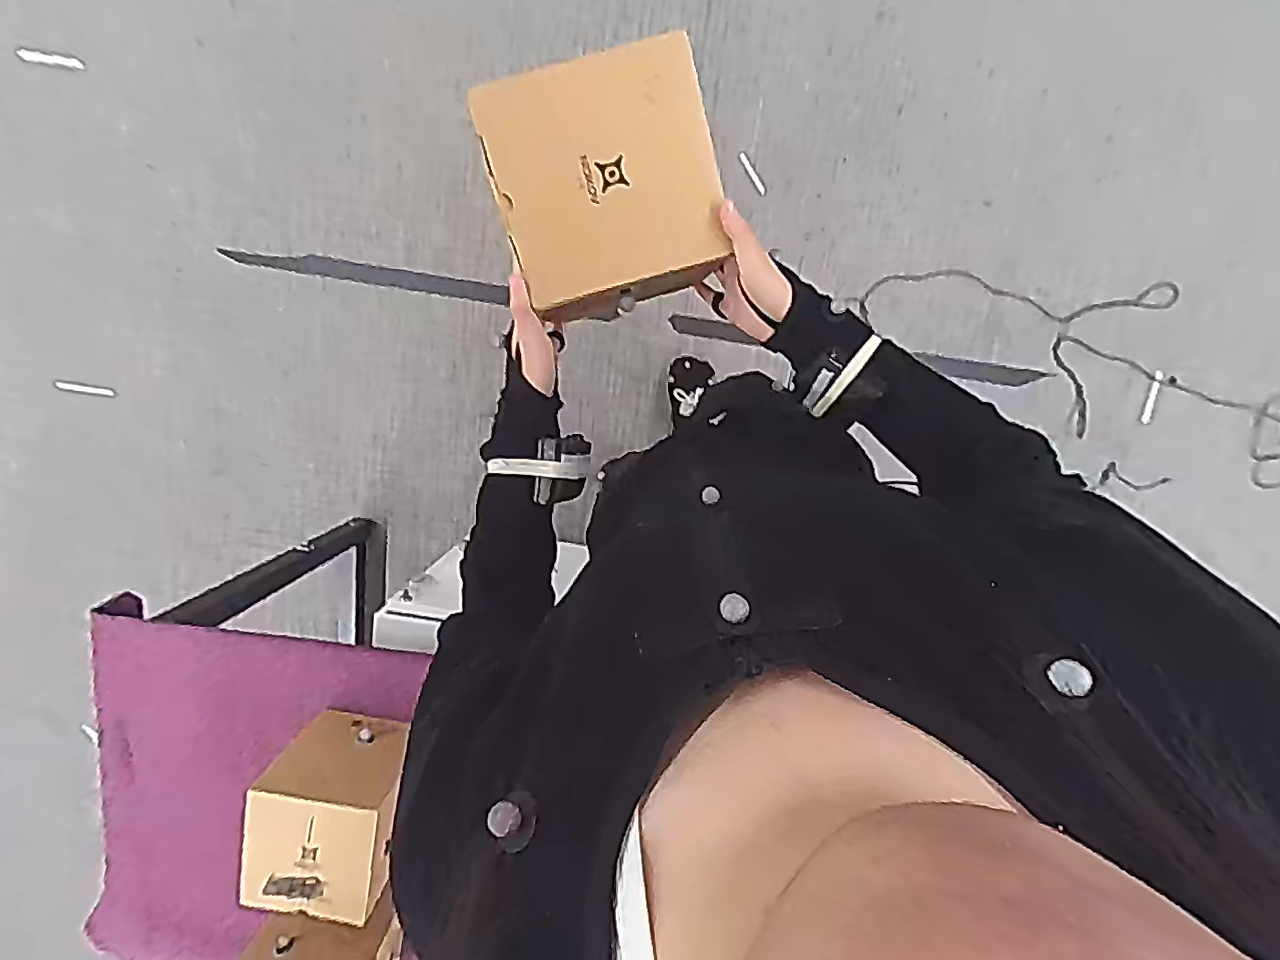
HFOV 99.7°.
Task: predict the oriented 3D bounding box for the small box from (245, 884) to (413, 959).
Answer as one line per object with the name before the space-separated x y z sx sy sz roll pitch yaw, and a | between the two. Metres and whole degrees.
small box | -0.472 0.739 0.815 0.179 0.176 0.168 11 100 -2

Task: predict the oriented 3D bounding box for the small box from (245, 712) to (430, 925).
small box | -0.414 0.466 0.764 0.168 0.176 0.179 11 101 -2
